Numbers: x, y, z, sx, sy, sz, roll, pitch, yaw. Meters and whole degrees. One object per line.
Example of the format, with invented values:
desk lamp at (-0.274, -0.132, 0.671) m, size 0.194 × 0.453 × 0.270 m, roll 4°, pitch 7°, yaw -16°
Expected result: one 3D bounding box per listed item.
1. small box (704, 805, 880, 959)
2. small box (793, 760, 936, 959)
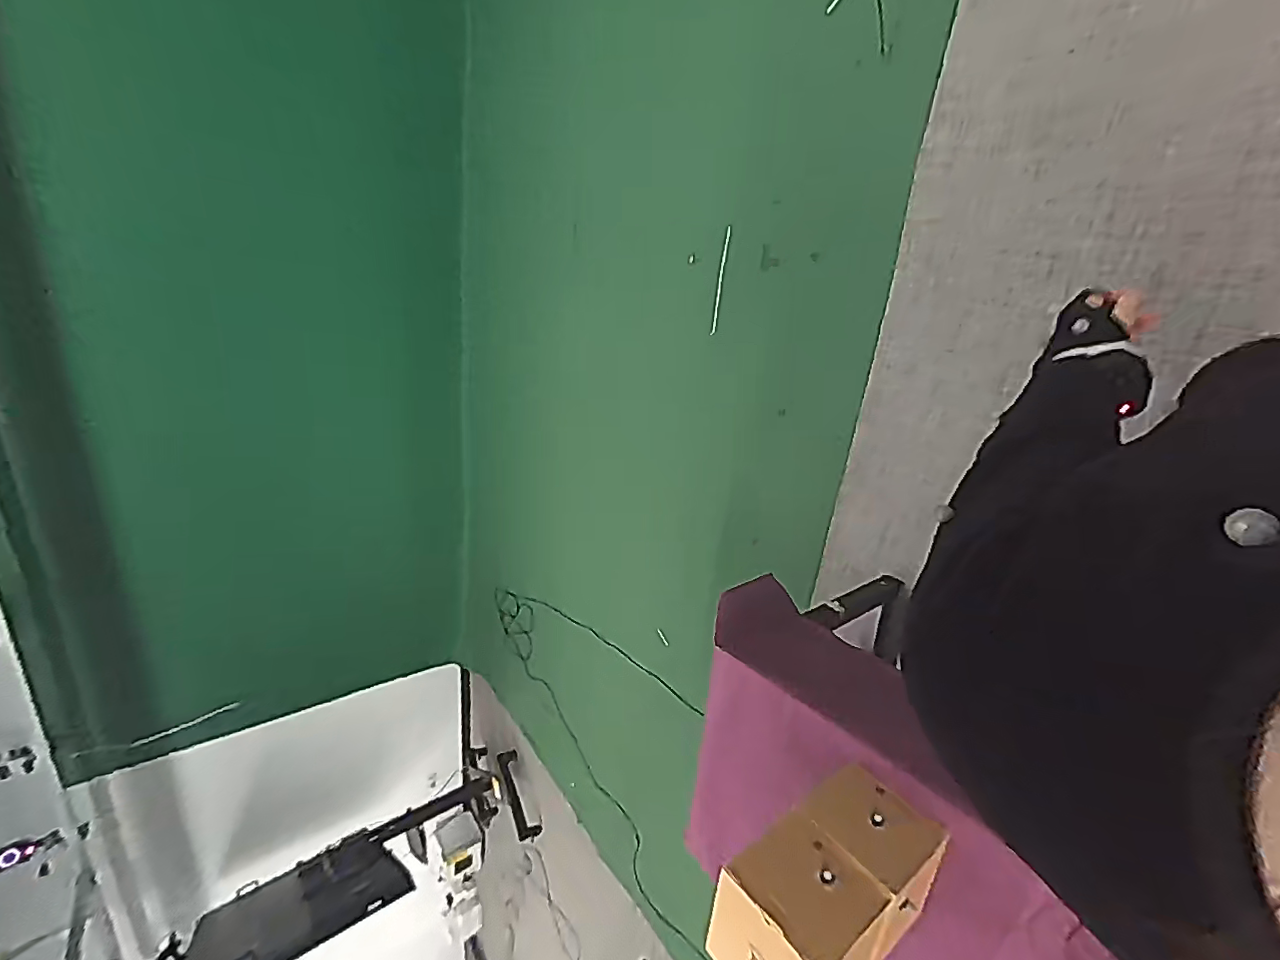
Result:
small box at (0.218, 0.626, 0.782) m, size 0.168 × 0.176 × 0.179 m, roll 27°, pitch 117°, yaw 46°
small box at (0.349, 0.600, 0.876) m, size 0.168 × 0.176 × 0.179 m, roll 27°, pitch 118°, yaw 47°
